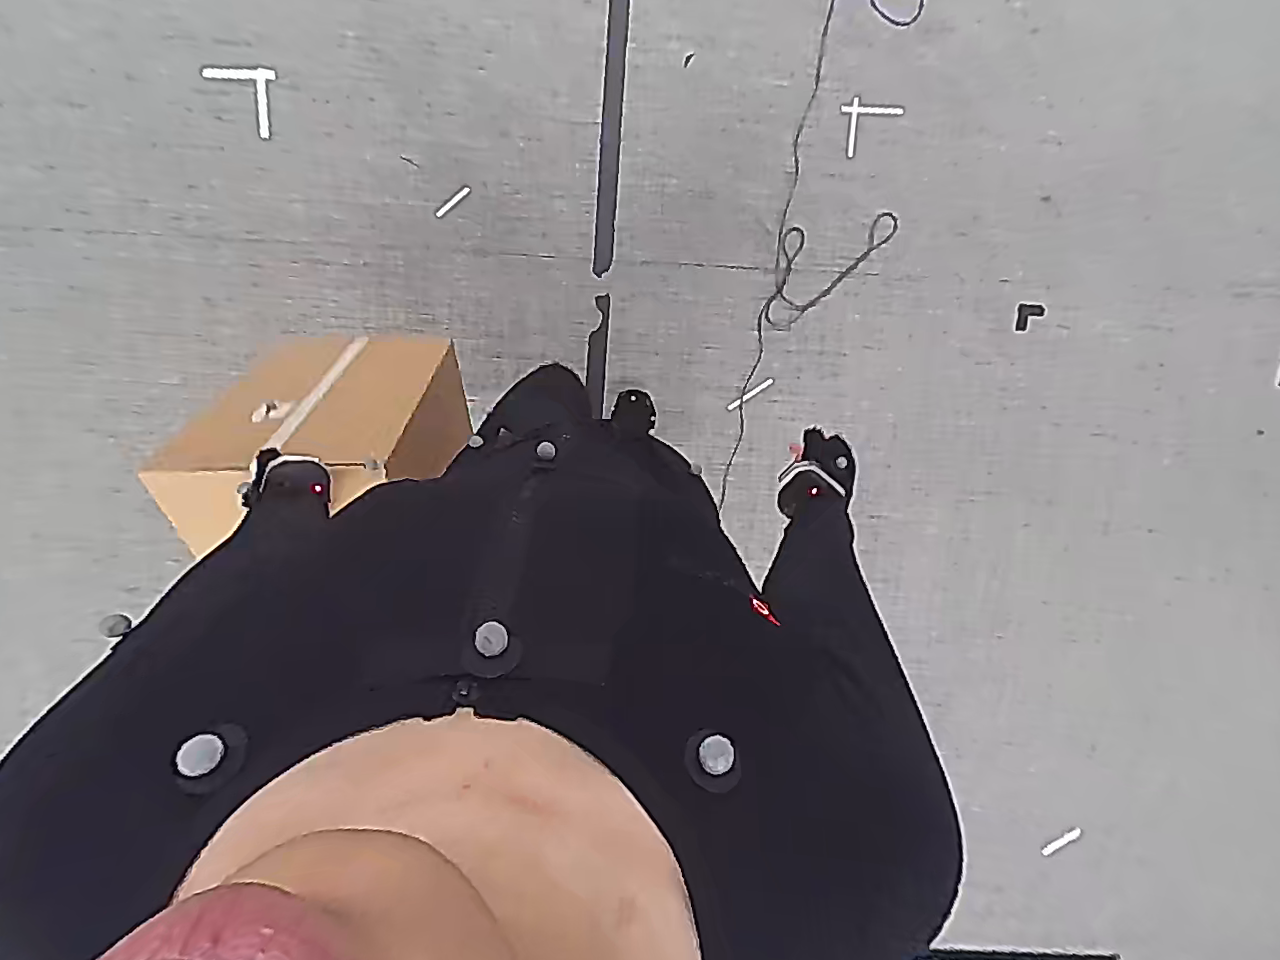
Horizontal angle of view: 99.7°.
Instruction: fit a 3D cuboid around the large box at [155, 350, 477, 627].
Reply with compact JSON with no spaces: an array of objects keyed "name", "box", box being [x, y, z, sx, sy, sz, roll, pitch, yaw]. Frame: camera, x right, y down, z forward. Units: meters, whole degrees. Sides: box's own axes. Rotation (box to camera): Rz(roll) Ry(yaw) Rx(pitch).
[{"name":"large box","box":[-0.496,-0.002,0.955,0.320,0.408,0.320,-3,127,-2]}]
